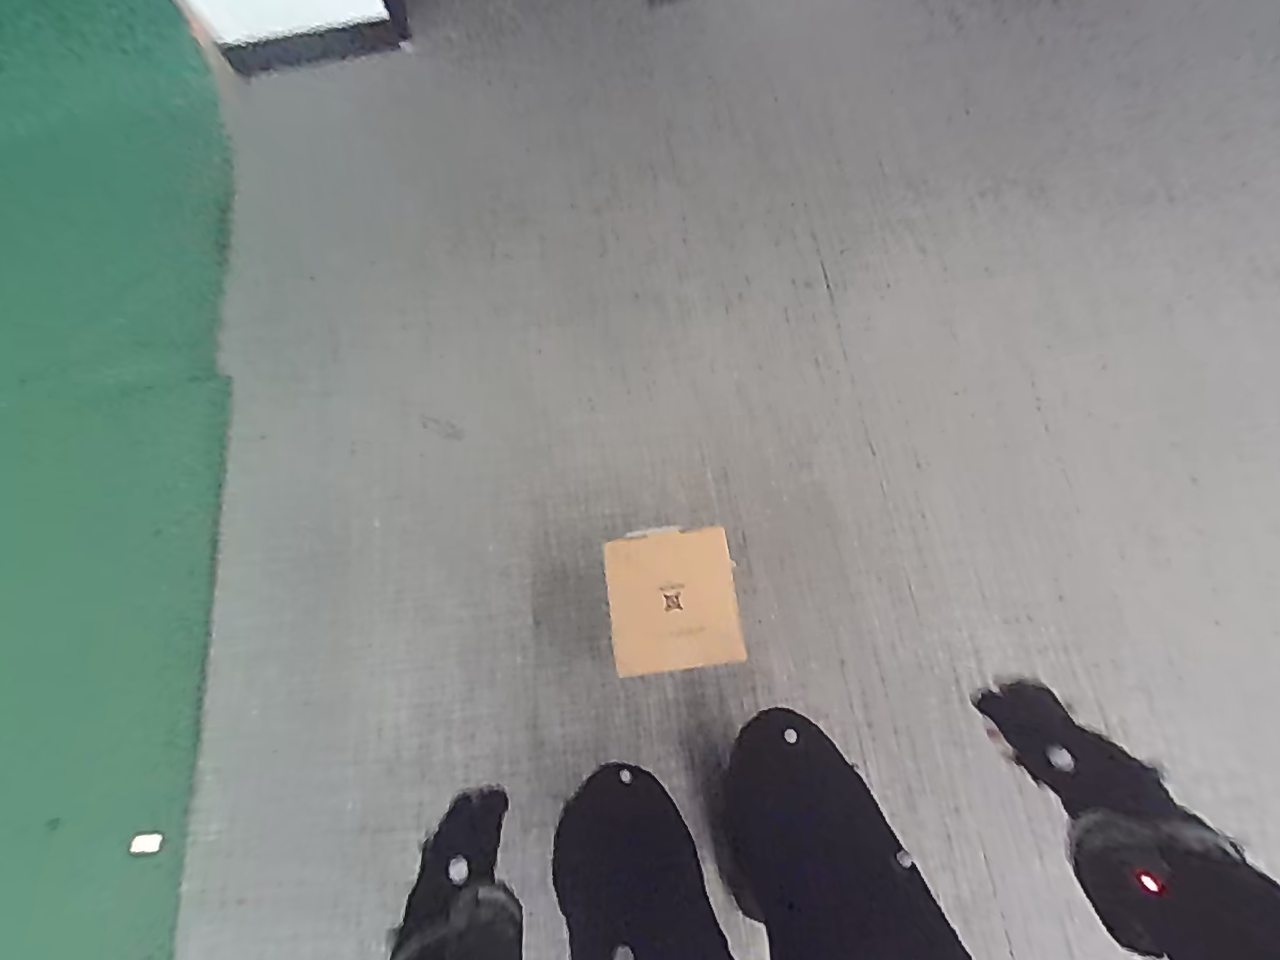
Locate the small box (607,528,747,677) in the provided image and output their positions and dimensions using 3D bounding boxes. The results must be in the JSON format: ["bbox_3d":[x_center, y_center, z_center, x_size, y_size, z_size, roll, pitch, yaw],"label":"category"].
[{"bbox_3d":[0.051,0.178,0.776,0.168,0.176,0.179,-9,74,4],"label":"small box"}]
